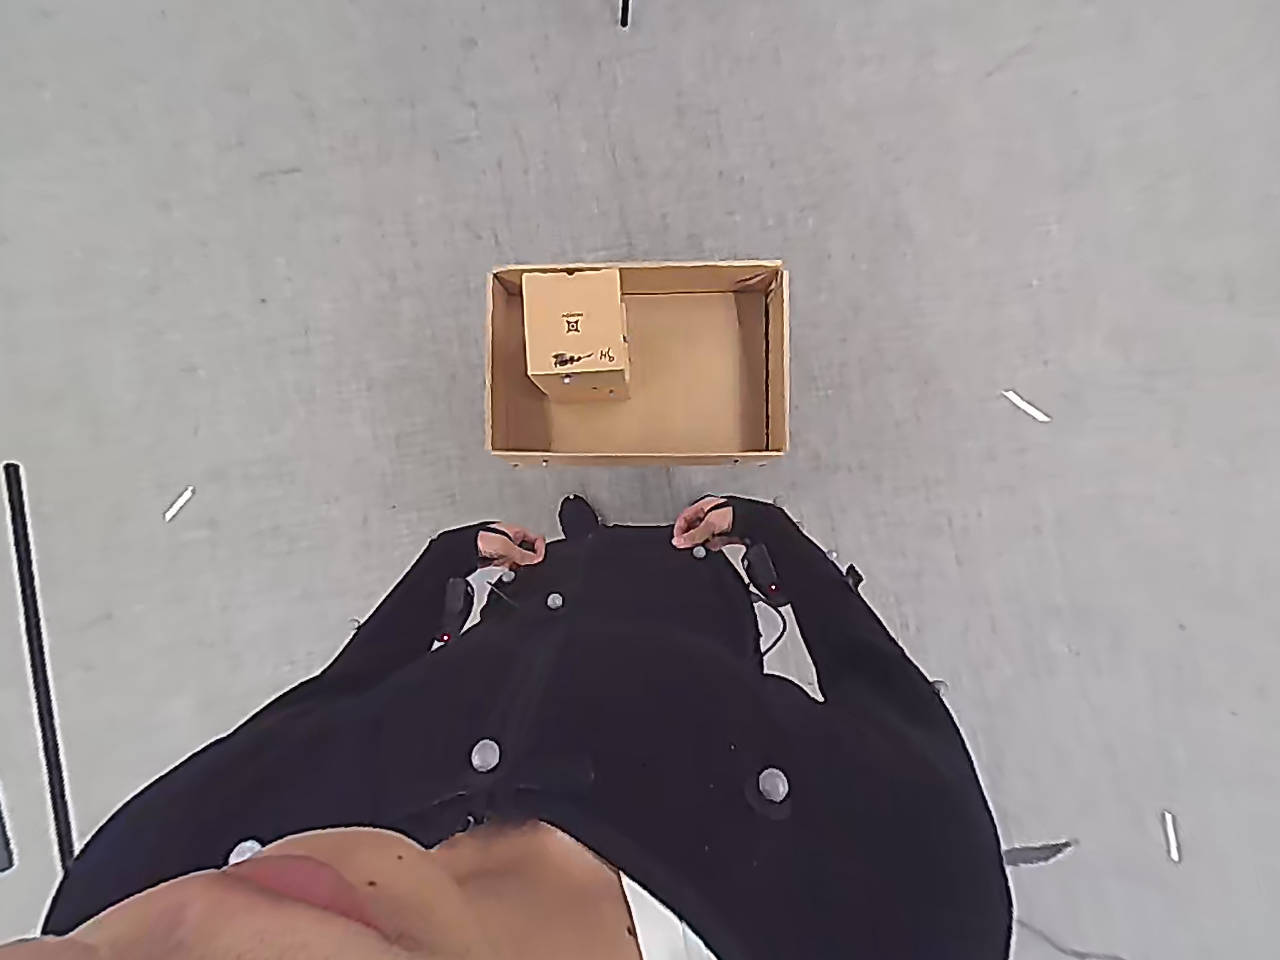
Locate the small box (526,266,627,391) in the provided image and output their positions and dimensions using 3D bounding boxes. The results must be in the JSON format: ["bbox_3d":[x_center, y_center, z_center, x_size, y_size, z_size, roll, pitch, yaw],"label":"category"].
[{"bbox_3d":[-0.109,-0.268,0.985,0.168,0.176,0.179,-3,88,0],"label":"small box"}]
